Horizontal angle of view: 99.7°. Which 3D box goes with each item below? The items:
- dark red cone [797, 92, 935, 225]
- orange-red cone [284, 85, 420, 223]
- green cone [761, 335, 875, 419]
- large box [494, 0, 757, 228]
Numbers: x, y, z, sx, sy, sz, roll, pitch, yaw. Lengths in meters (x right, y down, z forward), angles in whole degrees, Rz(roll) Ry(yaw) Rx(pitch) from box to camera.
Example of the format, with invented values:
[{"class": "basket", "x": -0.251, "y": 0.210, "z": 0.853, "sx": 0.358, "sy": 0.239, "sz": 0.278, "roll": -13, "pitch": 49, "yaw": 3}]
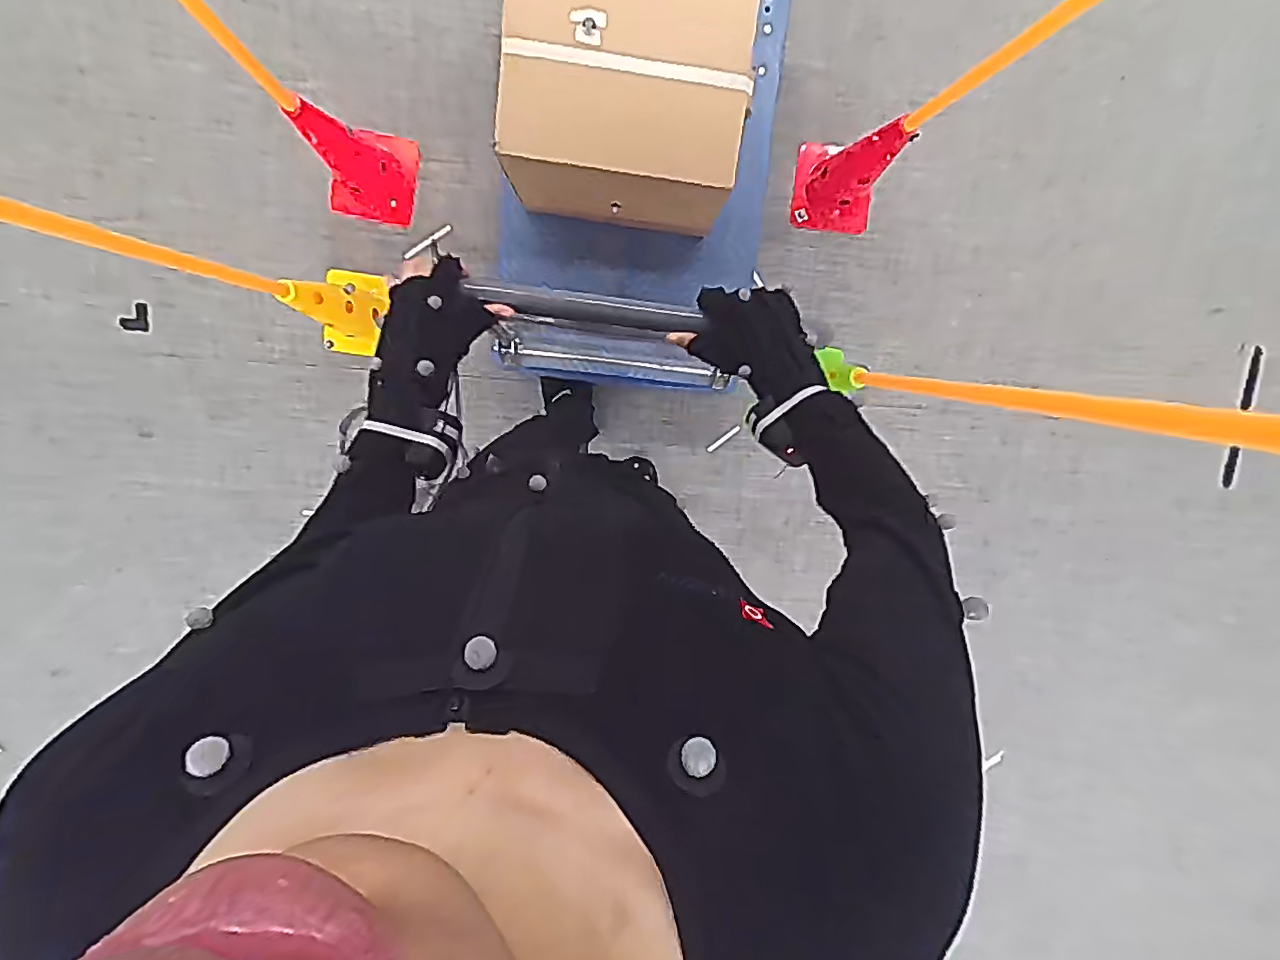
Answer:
[{"class": "dark red cone", "x": 0.503, "y": -0.713, "z": 1.171, "sx": 0.201, "sy": 0.394, "sz": 0.202, "roll": 4, "pitch": 100, "yaw": -5}, {"class": "orange-red cone", "x": -0.631, "y": -0.716, "z": 1.139, "sx": 0.198, "sy": 0.360, "sz": 0.199, "roll": 12, "pitch": 98, "yaw": -6}, {"class": "green cone", "x": 0.440, "y": -0.242, "z": 1.268, "sx": 0.202, "sy": 0.368, "sz": 0.200, "roll": 8, "pitch": 99, "yaw": -5}, {"class": "large box", "x": -0.029, "y": -0.698, "z": 1.022, "sx": 0.408, "sy": 0.320, "sz": 0.320, "roll": 8, "pitch": 101, "yaw": -3}]
